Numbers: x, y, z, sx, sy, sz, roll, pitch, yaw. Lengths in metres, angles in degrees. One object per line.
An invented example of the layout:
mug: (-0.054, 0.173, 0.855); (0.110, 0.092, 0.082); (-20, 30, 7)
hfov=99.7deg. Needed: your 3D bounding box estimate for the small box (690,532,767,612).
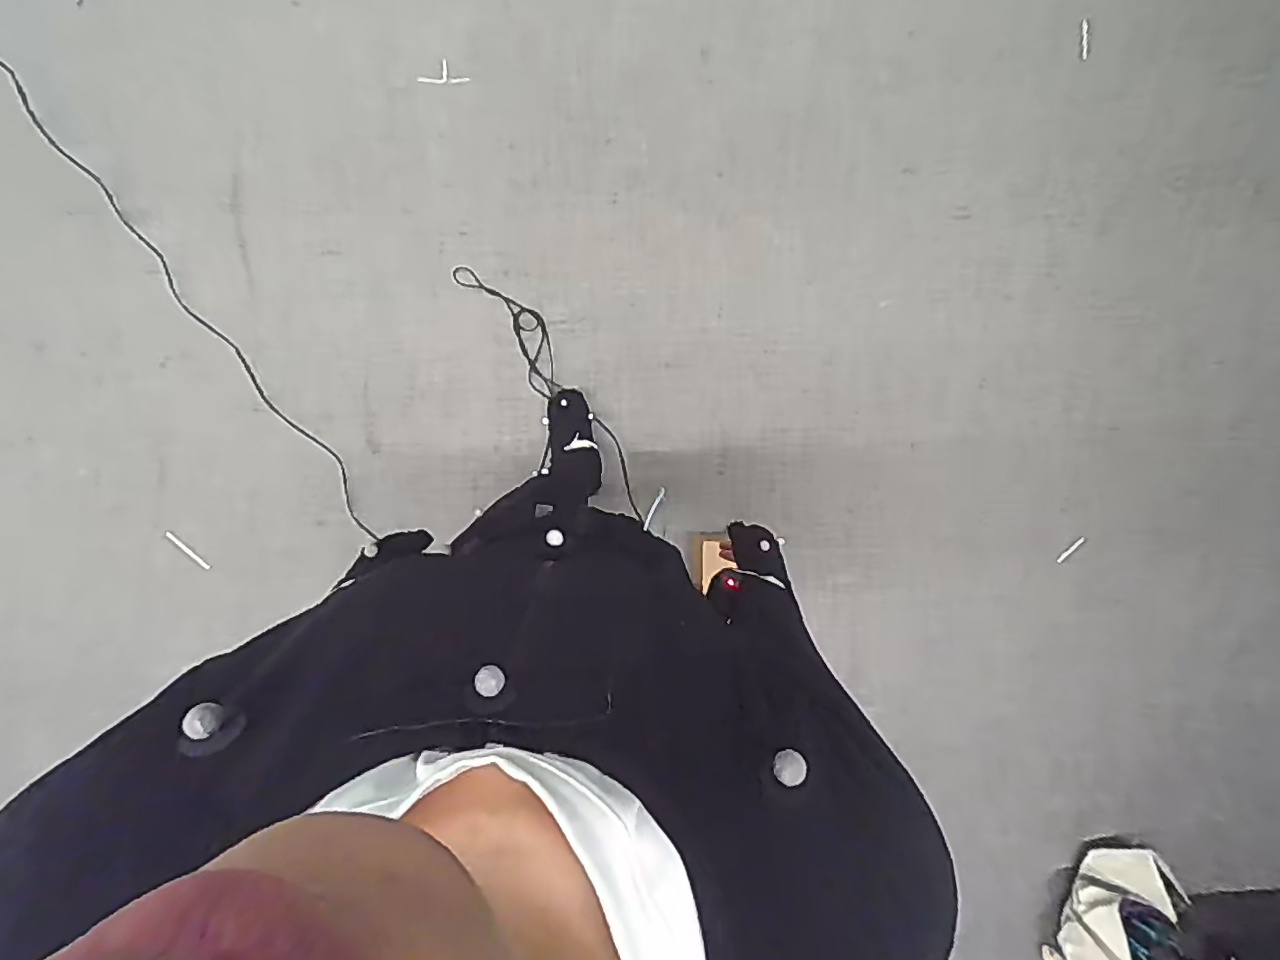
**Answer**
small box: (0.225, 0.236, 1.415); (0.168, 0.176, 0.179); (1, 92, -4)
